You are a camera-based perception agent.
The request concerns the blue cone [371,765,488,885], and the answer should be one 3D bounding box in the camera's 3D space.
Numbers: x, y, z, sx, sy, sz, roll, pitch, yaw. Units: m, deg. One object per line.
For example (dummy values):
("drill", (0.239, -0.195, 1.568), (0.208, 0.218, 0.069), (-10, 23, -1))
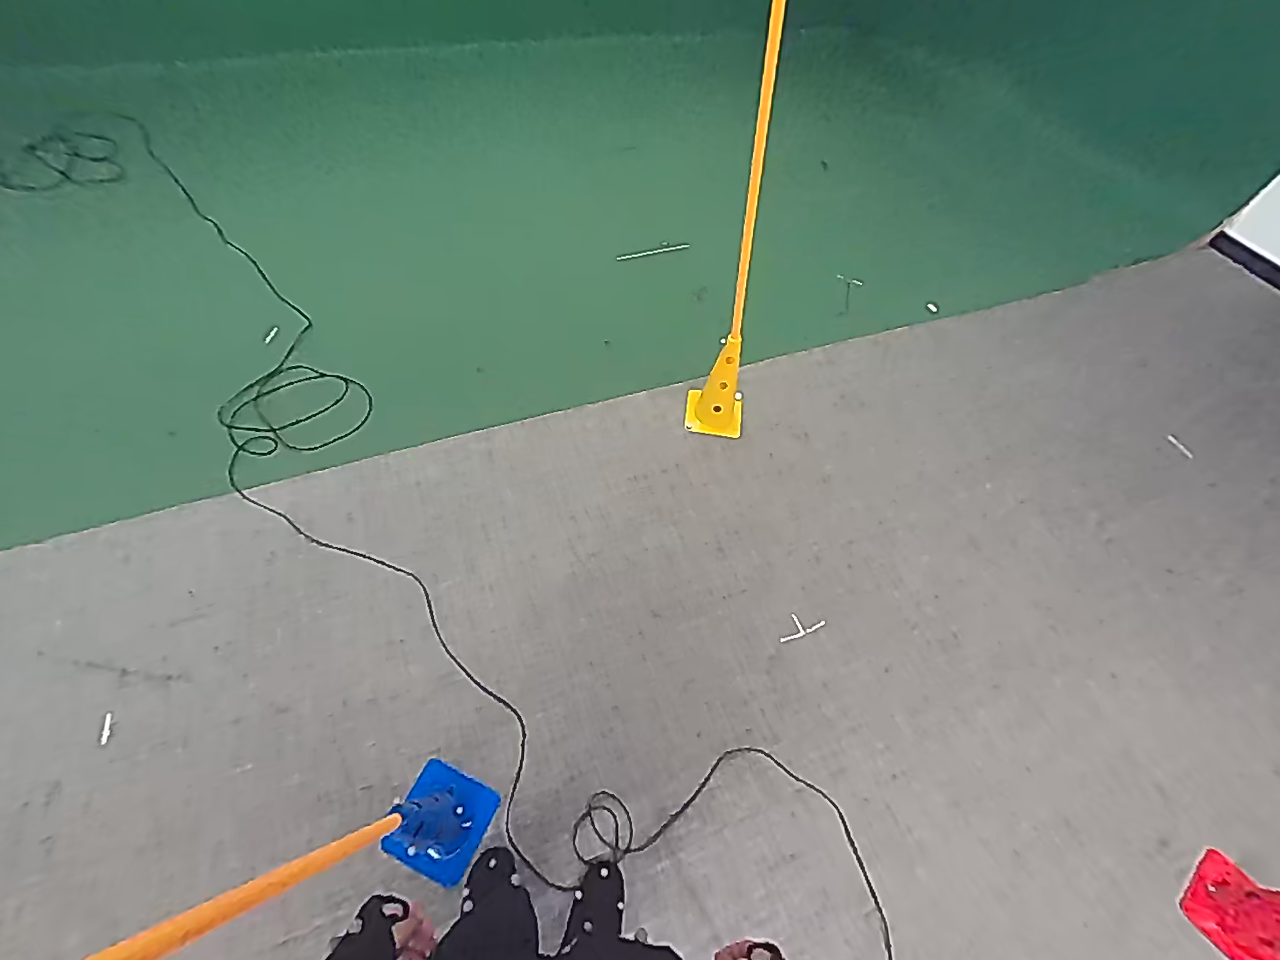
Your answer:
("blue cone", (-0.437, 0.676, 1.058), (0.192, 0.380, 0.193), (22, 59, 8))
